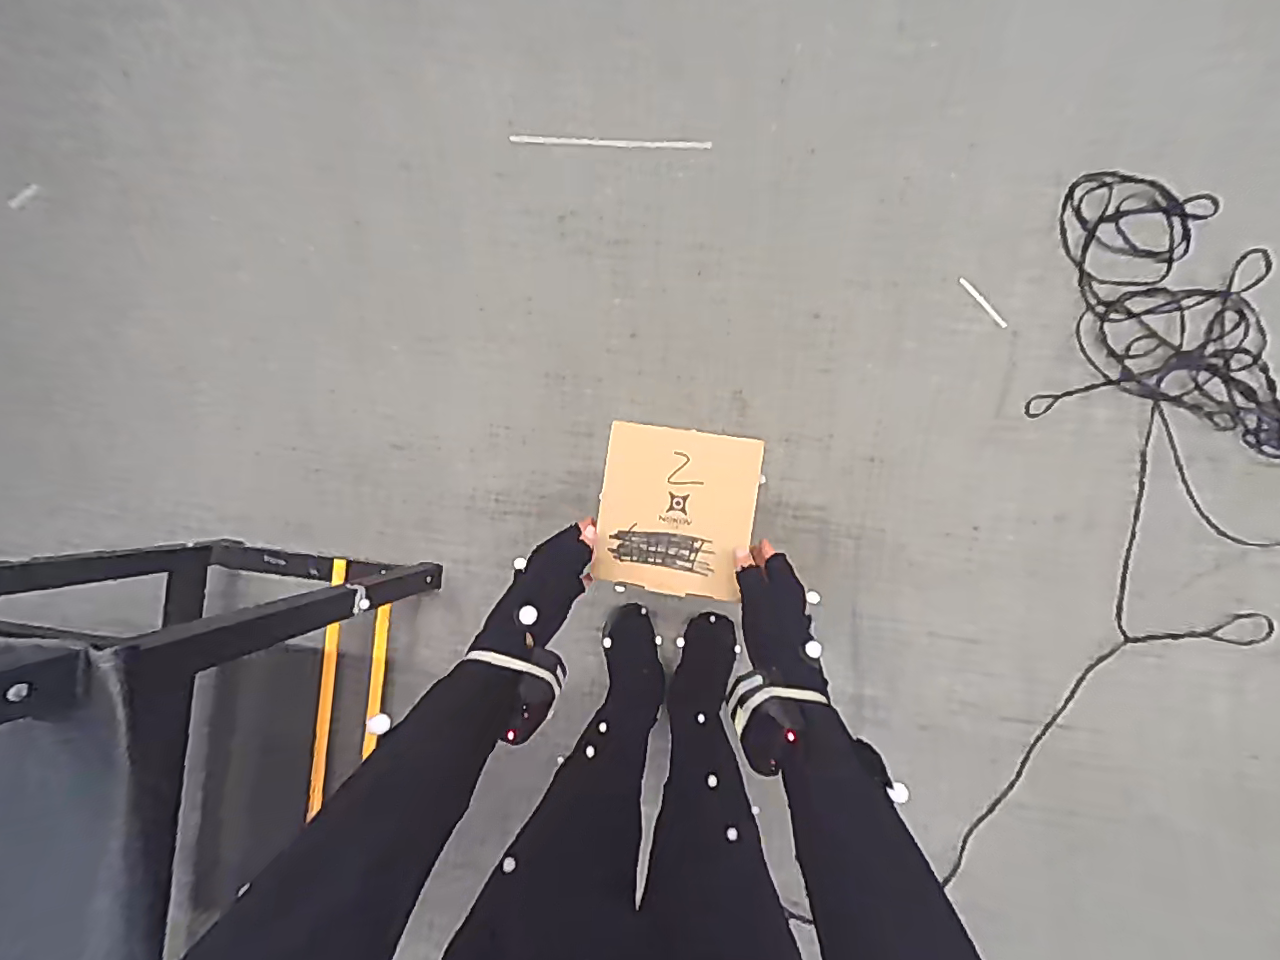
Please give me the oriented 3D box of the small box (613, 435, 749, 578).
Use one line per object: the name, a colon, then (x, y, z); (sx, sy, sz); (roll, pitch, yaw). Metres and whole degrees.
small box: (0.064, 0.037, 0.824); (0.168, 0.176, 0.179); (9, 90, 6)
